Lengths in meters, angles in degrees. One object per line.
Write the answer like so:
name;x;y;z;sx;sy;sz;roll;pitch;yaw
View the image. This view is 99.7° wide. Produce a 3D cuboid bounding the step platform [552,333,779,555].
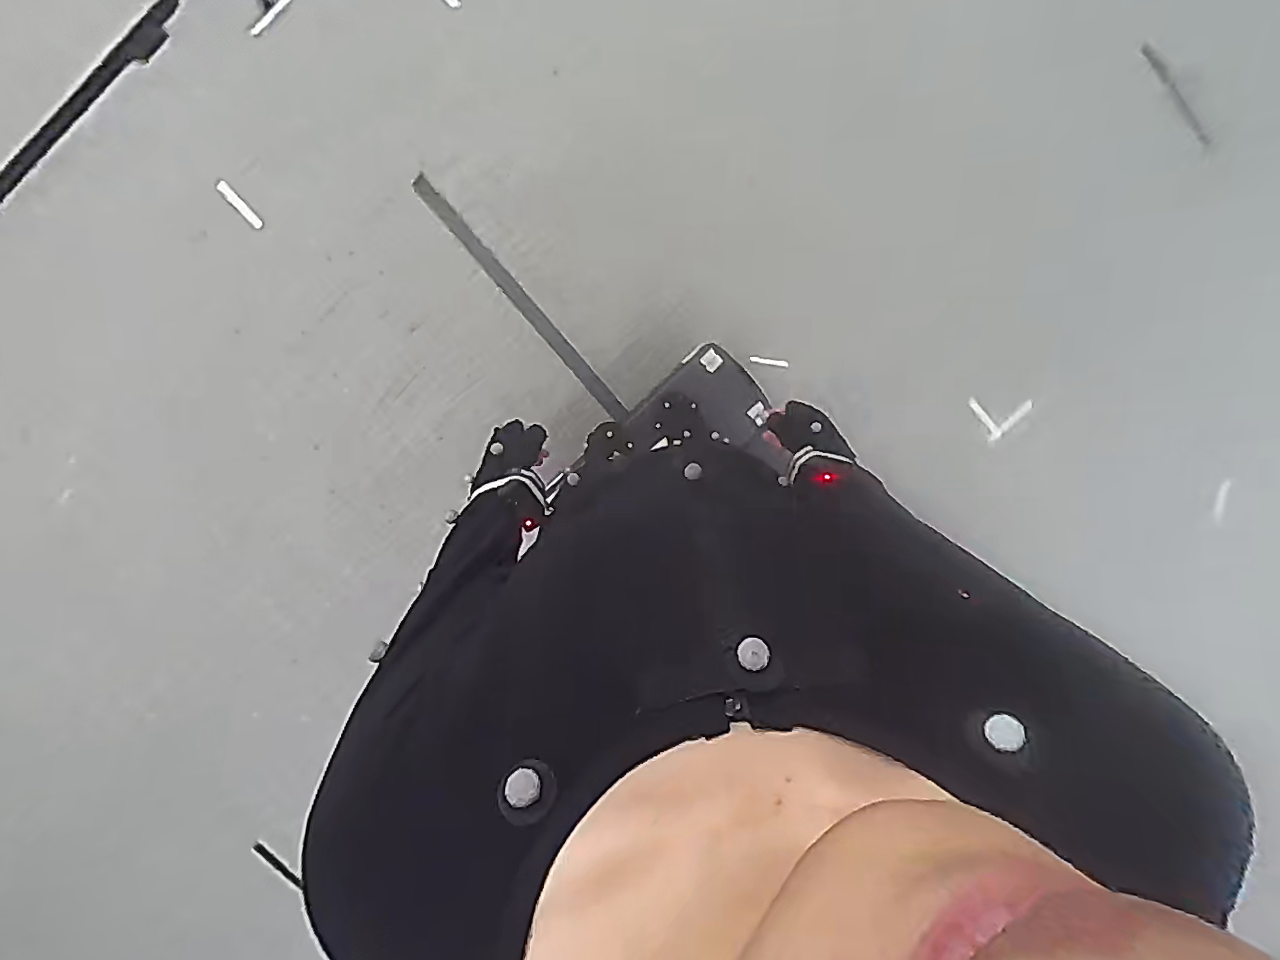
step platform;0.067;-0.102;1.566;0.684;0.204;0.286;-44;98;3
